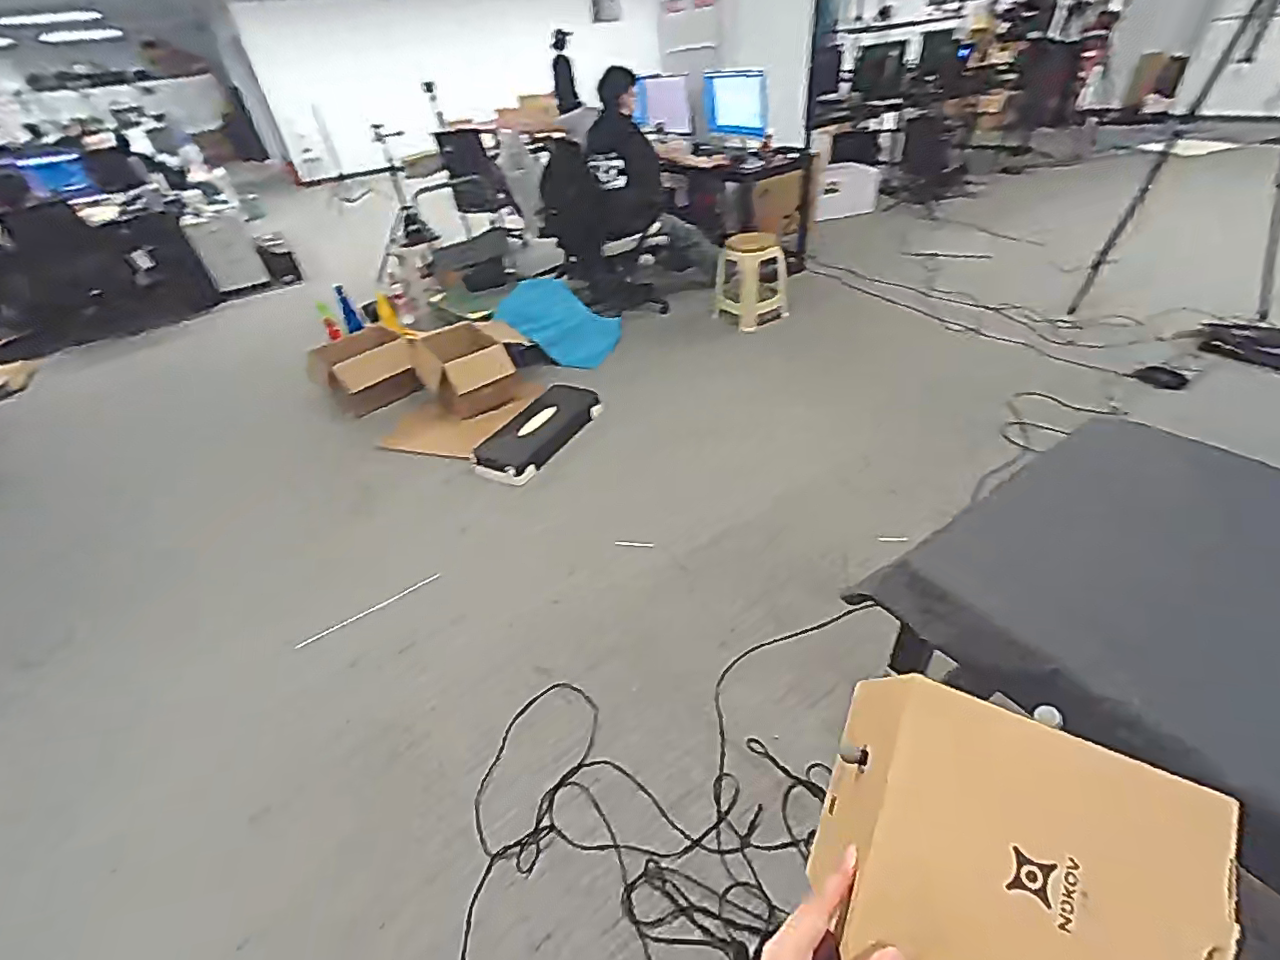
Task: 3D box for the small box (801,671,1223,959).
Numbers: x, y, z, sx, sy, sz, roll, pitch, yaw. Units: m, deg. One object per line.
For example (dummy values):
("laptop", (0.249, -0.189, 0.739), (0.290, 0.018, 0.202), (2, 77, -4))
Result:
("small box", (0.224, 0.249, 0.371), (0.179, 0.176, 0.168), (19, 72, 15))
